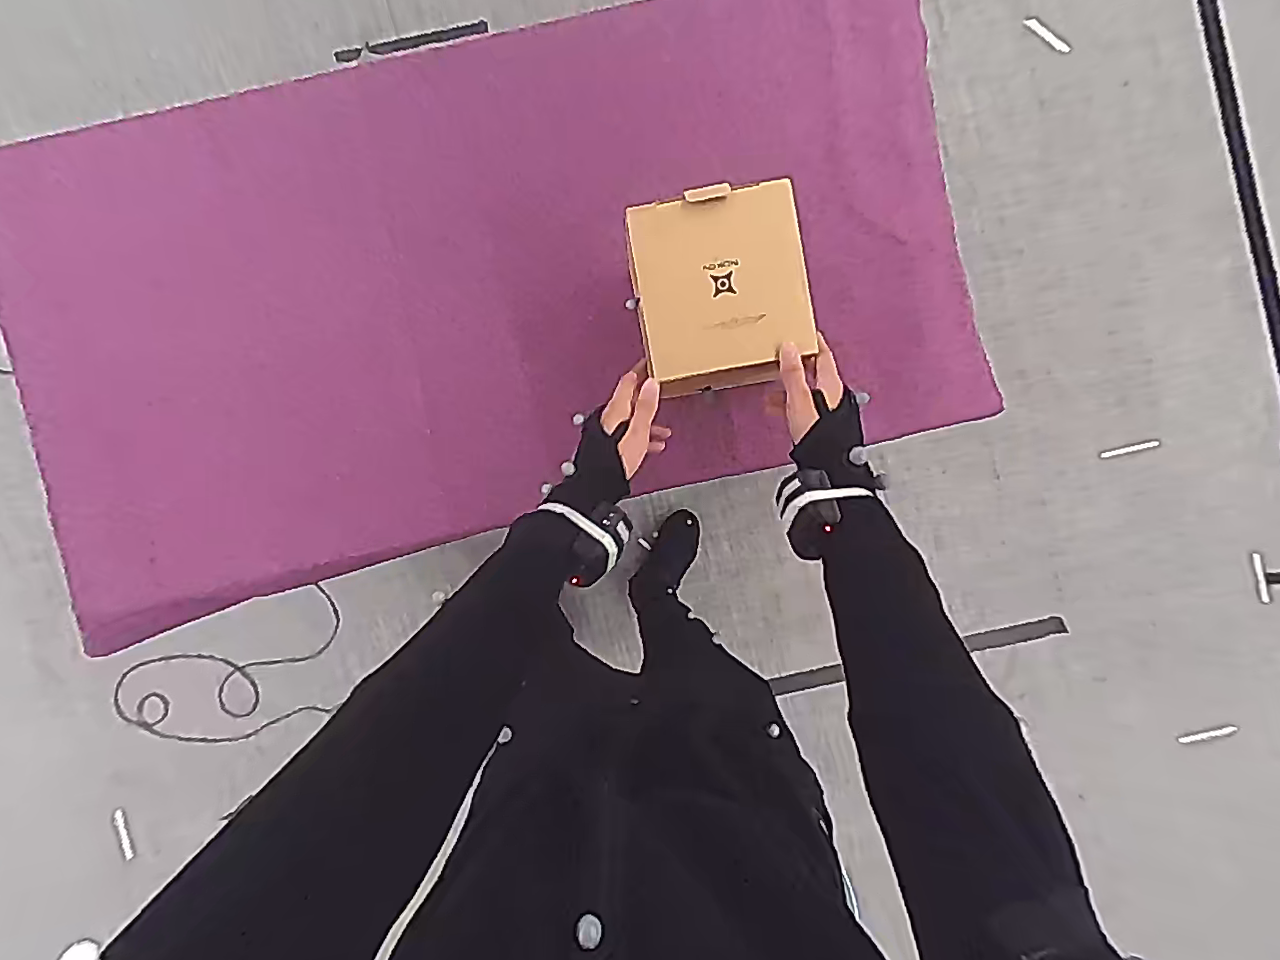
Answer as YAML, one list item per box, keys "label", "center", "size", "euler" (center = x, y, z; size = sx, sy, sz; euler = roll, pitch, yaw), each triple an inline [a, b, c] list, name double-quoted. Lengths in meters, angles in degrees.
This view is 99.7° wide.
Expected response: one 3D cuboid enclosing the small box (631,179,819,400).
- label: "small box"
  center: [0.082, -0.195, 0.602]
  size: [0.168, 0.176, 0.179]
  euler: [-9, 91, 1]
